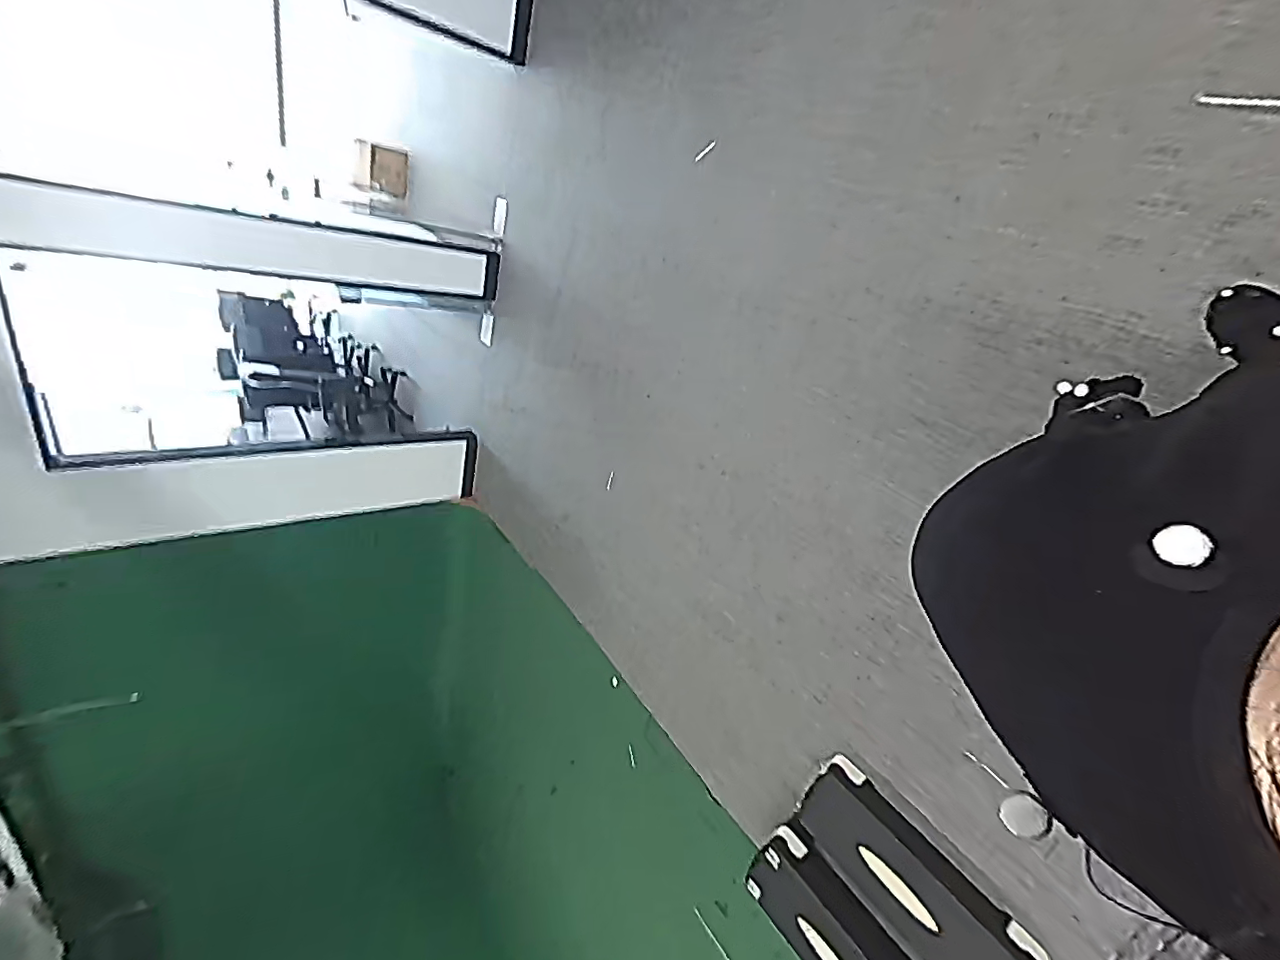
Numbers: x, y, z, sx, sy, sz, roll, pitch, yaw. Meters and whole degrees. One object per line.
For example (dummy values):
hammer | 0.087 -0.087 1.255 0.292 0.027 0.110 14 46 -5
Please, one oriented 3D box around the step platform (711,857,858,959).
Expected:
step platform | 0.532 1.521 1.600 0.684 0.204 0.286 39 124 38
